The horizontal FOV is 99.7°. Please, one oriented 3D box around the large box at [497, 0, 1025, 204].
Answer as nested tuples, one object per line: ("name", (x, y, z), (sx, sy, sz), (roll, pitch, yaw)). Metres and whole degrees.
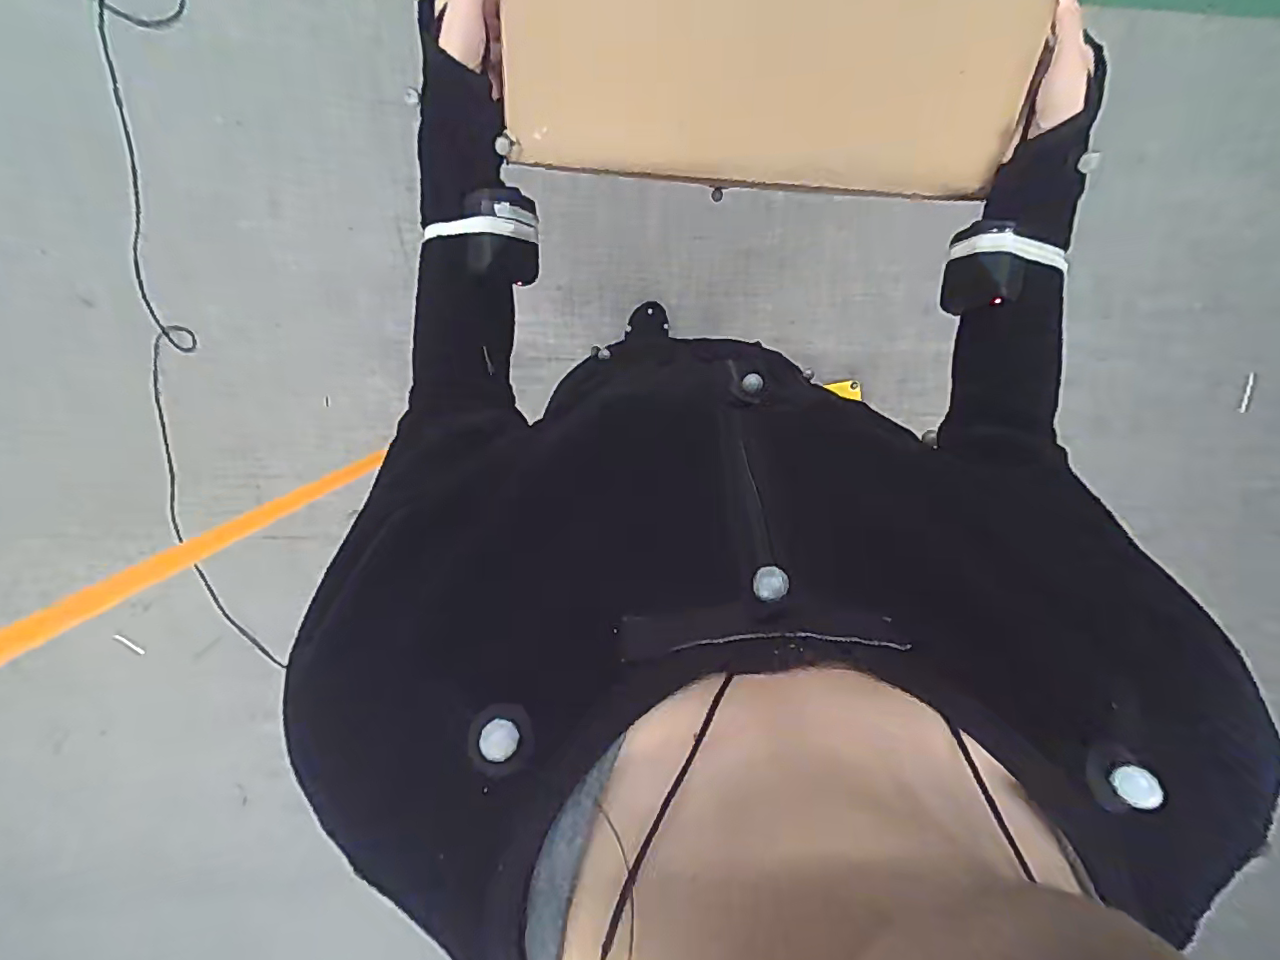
("large box", (0.090, -0.453, 0.517), (0.408, 0.320, 0.320), (2, 117, -5))
